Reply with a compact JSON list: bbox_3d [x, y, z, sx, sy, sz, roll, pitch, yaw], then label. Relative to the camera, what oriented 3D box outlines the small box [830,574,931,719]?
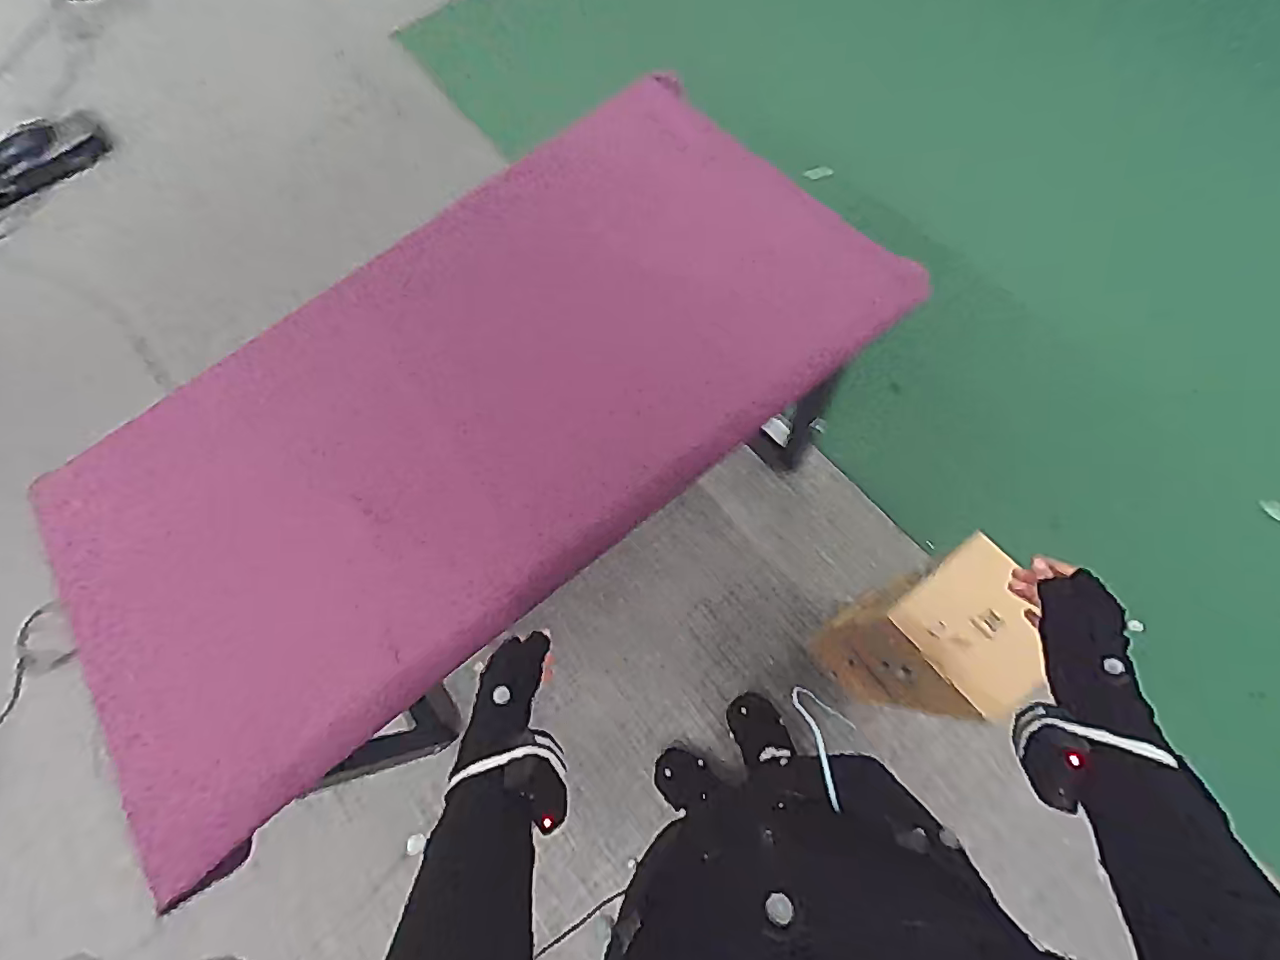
[{"bbox_3d":[0.453,0.271,0.914,0.168,0.176,0.179,-35,70,-6],"label":"small box"}]

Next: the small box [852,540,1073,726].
[{"bbox_3d":[0.432,0.214,0.761,0.179,0.176,0.168,-38,70,-6],"label":"small box"}]

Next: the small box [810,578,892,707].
[{"bbox_3d":[0.464,0.320,1.069,0.168,0.176,0.179,-34,70,-5],"label":"small box"}]
